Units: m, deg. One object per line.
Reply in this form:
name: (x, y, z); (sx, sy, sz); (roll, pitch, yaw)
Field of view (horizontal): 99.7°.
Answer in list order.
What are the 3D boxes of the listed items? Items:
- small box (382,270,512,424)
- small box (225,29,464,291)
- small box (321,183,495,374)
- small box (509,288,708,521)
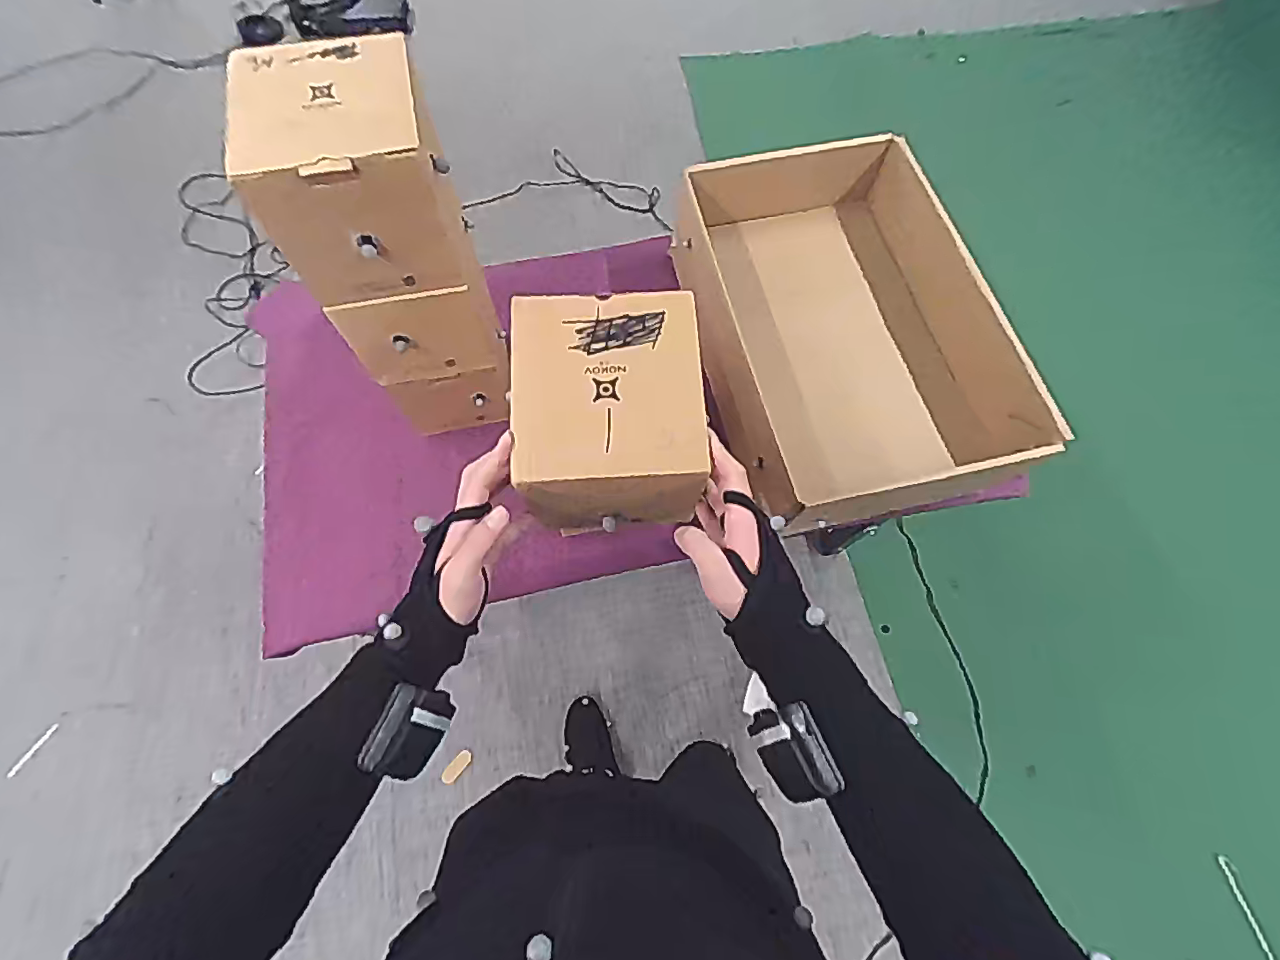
small box: (-0.305, -0.205, 0.876); (0.168, 0.176, 0.179); (-11, 70, -6)
small box: (-0.296, -0.322, 0.572); (0.168, 0.176, 0.179); (-12, 70, -7)
small box: (-0.301, -0.258, 0.723); (0.168, 0.176, 0.179); (-12, 69, -6)
small box: (-0.031, -0.066, 0.542); (0.168, 0.176, 0.179); (-3, 73, -2)
